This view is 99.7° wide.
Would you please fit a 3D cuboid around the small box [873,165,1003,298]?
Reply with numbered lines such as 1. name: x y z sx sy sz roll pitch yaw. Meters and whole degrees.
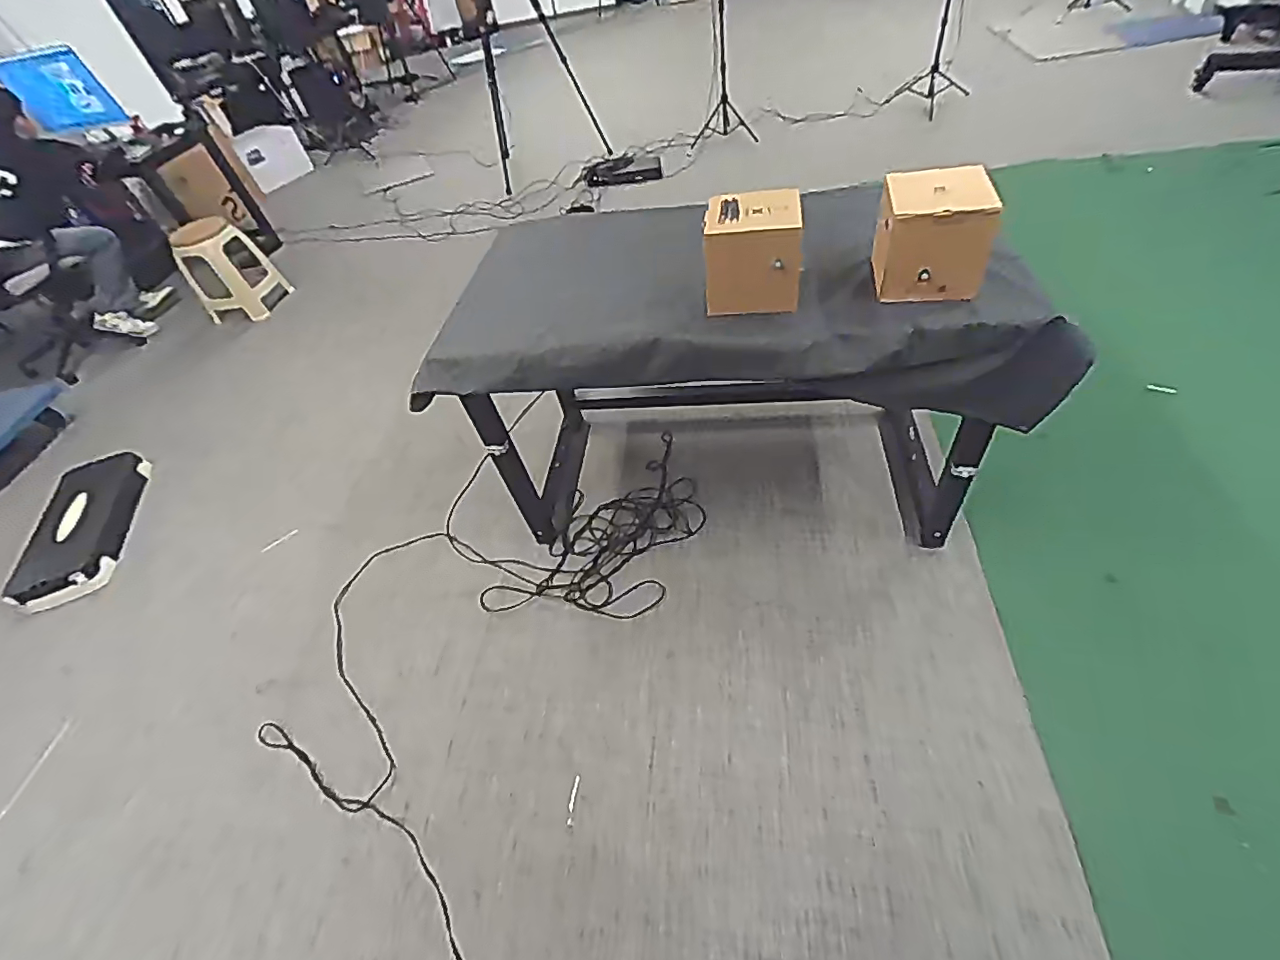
1. small box: 0.539 -0.459 1.007 0.168 0.176 0.179 2 50 14
